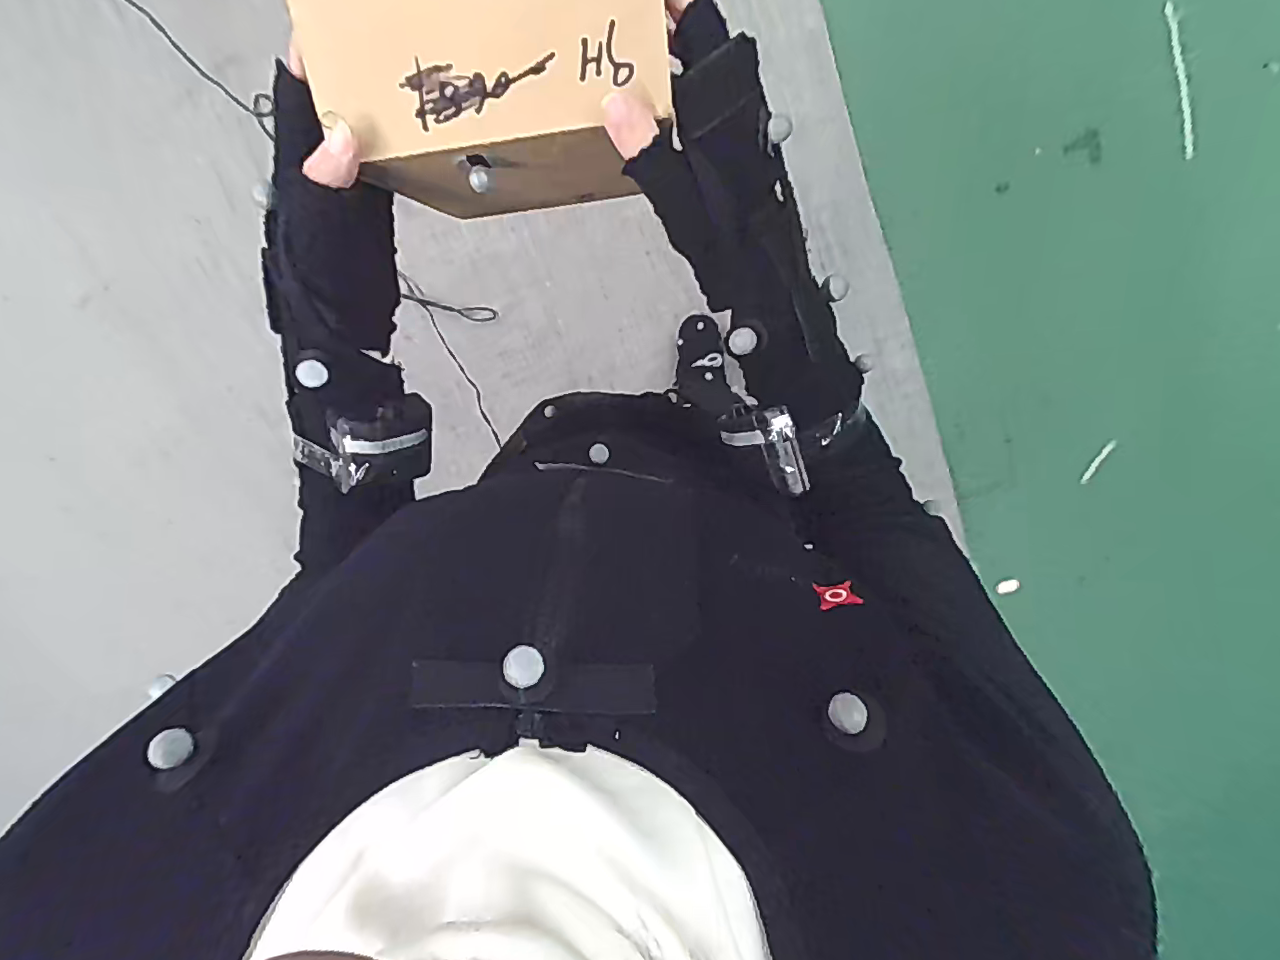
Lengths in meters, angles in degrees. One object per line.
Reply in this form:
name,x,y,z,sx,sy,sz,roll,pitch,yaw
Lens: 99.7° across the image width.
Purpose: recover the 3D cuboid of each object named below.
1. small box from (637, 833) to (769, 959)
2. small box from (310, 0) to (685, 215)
small box,0.107,0.729,0.900,0.179,0.176,0.168,-18,100,9
small box,-0.072,-0.273,0.310,0.168,0.176,0.179,-10,107,4
